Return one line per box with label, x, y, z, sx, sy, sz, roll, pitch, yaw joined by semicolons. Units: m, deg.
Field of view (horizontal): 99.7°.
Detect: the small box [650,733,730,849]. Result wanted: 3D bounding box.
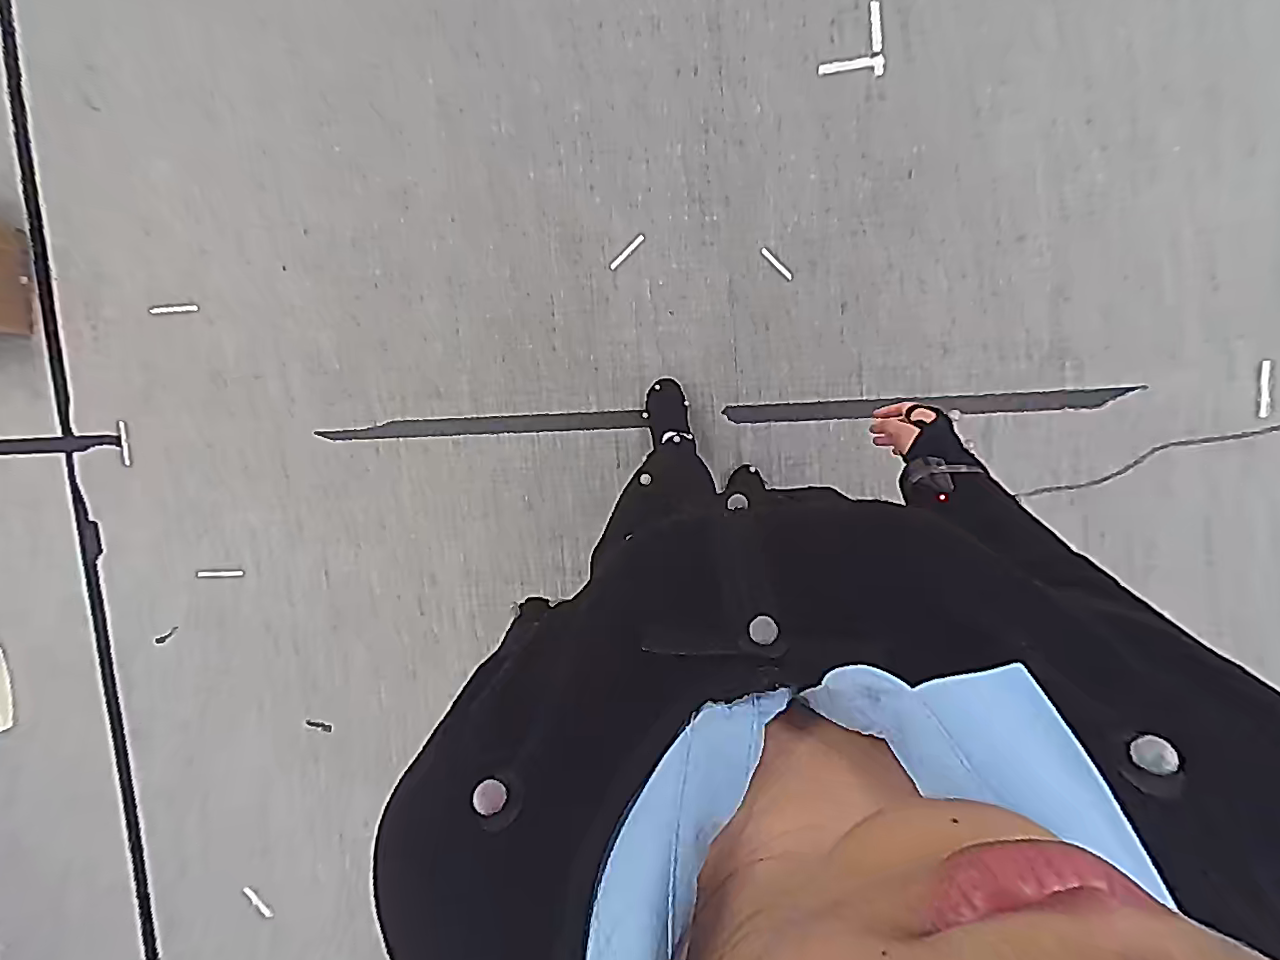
small box;0.120;0.728;1.277;0.168;0.176;0.179;-7;94;6
